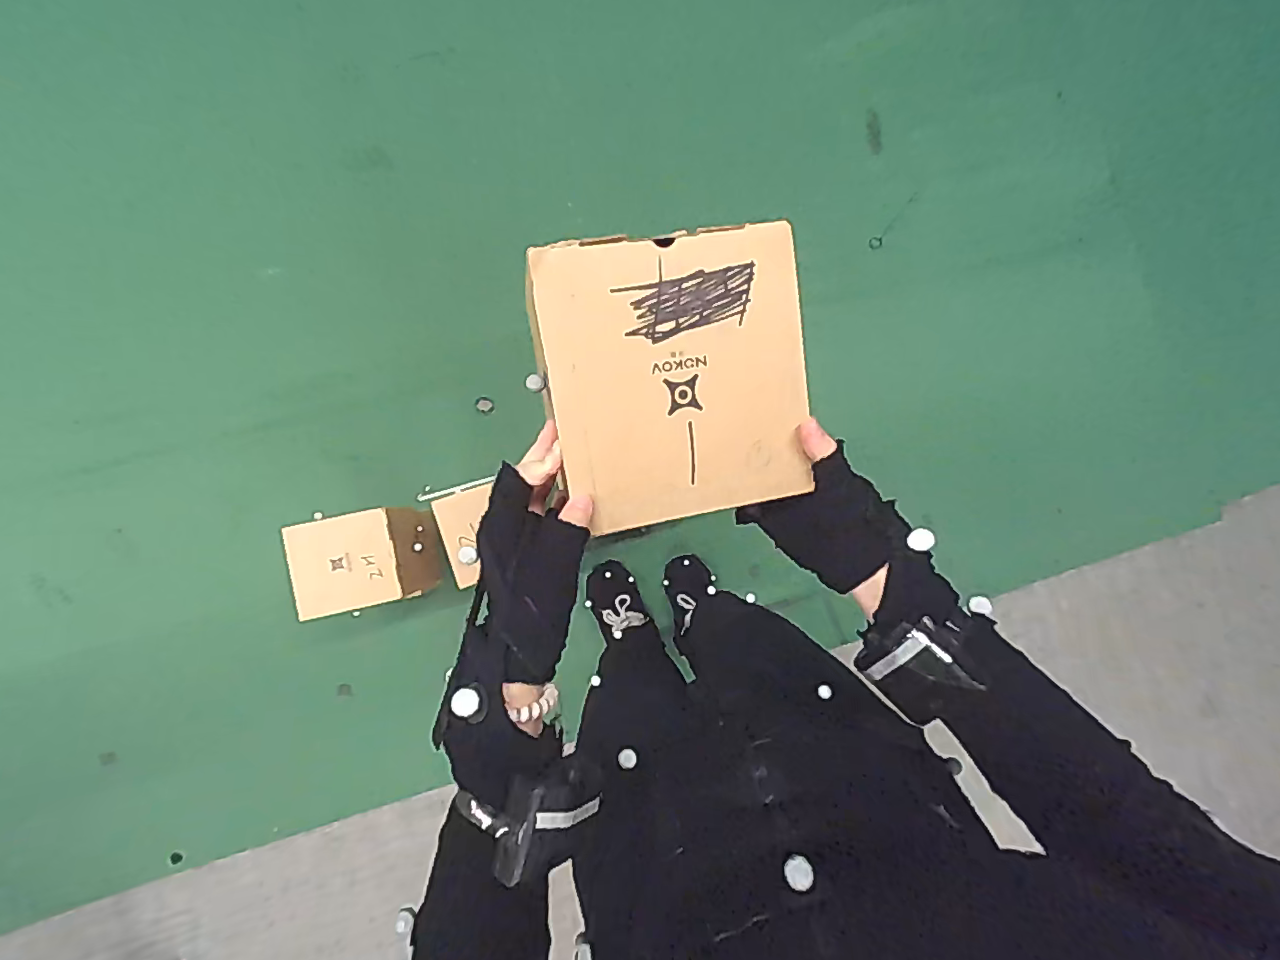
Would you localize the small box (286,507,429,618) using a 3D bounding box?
[{"bbox_3d":[-0.522,0.149,1.020,0.179,0.176,0.168,-11,88,-7],"label":"small box"}]

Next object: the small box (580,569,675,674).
[{"bbox_3d":[-0.029,0.322,1.257,0.179,0.176,0.168,16,96,10],"label":"small box"}]

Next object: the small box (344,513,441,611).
[{"bbox_3d":[-0.547,0.170,1.182,0.168,0.176,0.179,-10,88,-7],"label":"small box"}]

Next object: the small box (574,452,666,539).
[{"bbox_3d":[-0.053,0.035,1.249,0.179,0.176,0.168,-11,88,-7],"label":"small box"}]
